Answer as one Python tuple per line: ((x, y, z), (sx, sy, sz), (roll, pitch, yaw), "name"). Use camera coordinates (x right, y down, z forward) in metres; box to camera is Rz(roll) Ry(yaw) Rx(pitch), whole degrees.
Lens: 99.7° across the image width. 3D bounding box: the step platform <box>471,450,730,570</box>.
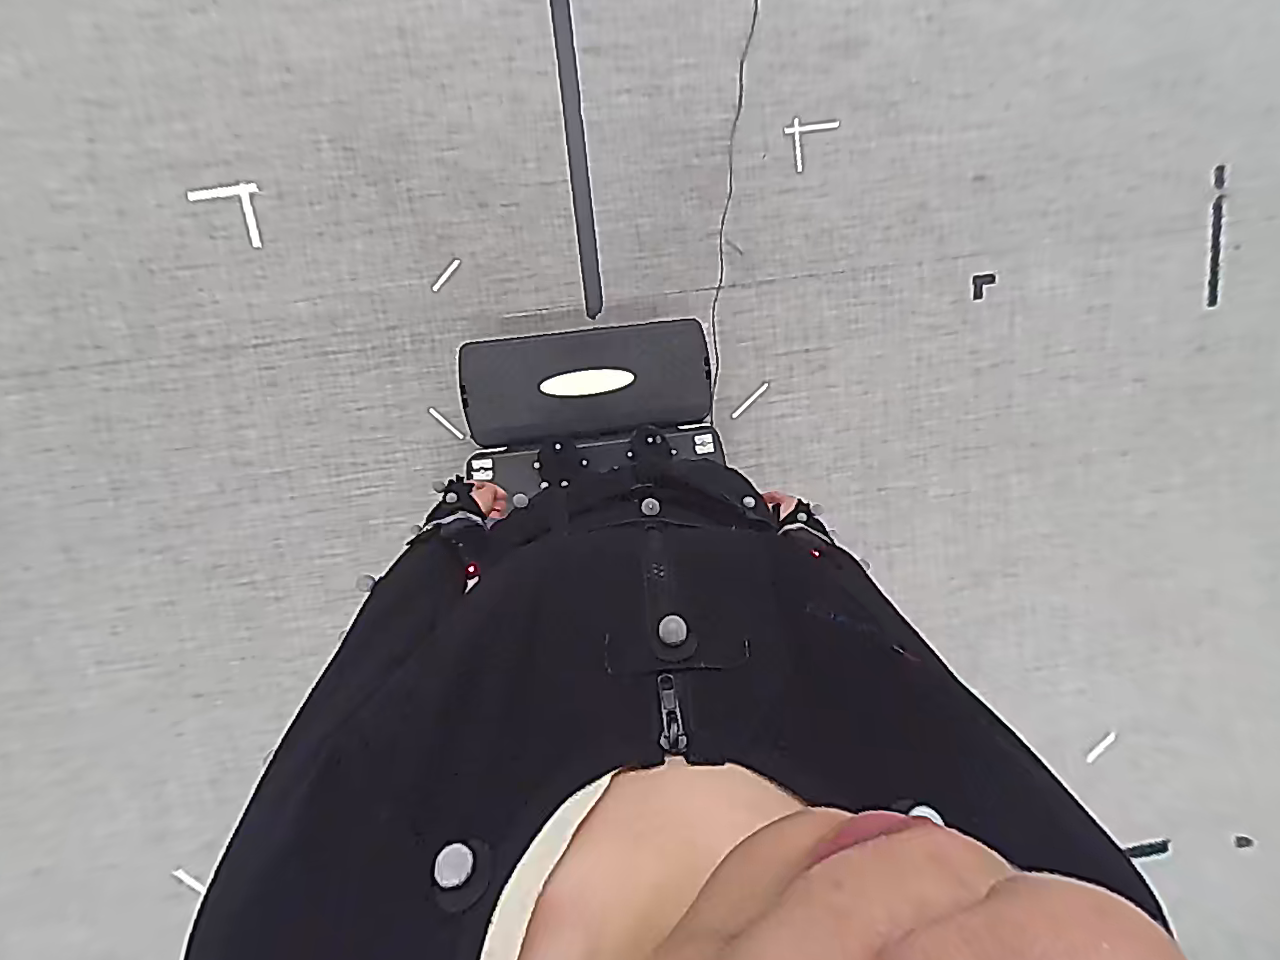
((-0.101, 0.076, 1.464), (0.684, 0.204, 0.286), (-3, 96, -2), "step platform")
